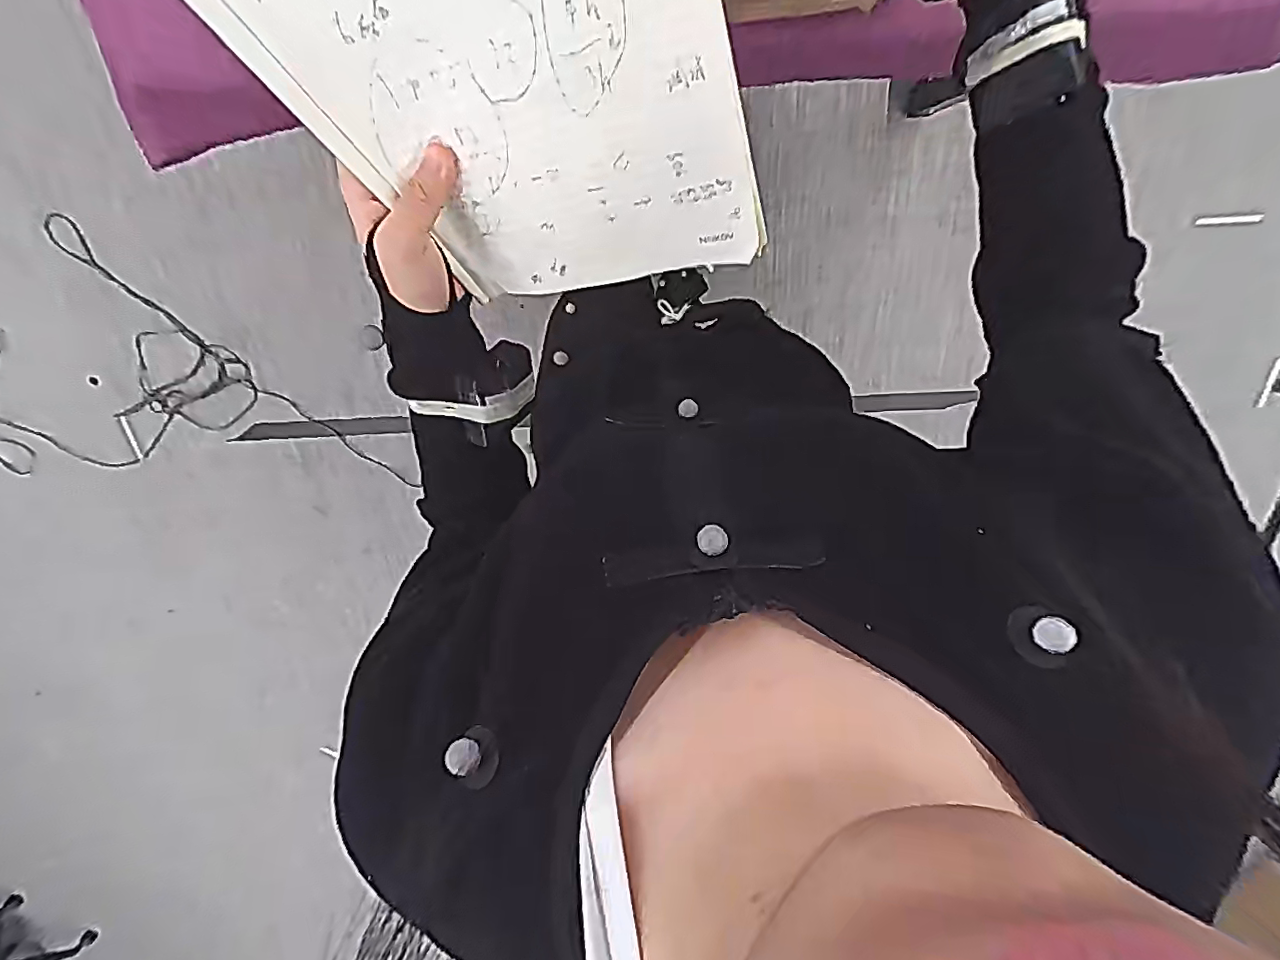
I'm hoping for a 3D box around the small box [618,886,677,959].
[{"bbox_3d":[0.020,1.327,1.583,0.168,0.176,0.179,0,113,1],"label":"small box"}]

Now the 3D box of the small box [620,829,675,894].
[{"bbox_3d":[0.020,1.249,1.728,0.168,0.176,0.179,2,115,-1],"label":"small box"}]
